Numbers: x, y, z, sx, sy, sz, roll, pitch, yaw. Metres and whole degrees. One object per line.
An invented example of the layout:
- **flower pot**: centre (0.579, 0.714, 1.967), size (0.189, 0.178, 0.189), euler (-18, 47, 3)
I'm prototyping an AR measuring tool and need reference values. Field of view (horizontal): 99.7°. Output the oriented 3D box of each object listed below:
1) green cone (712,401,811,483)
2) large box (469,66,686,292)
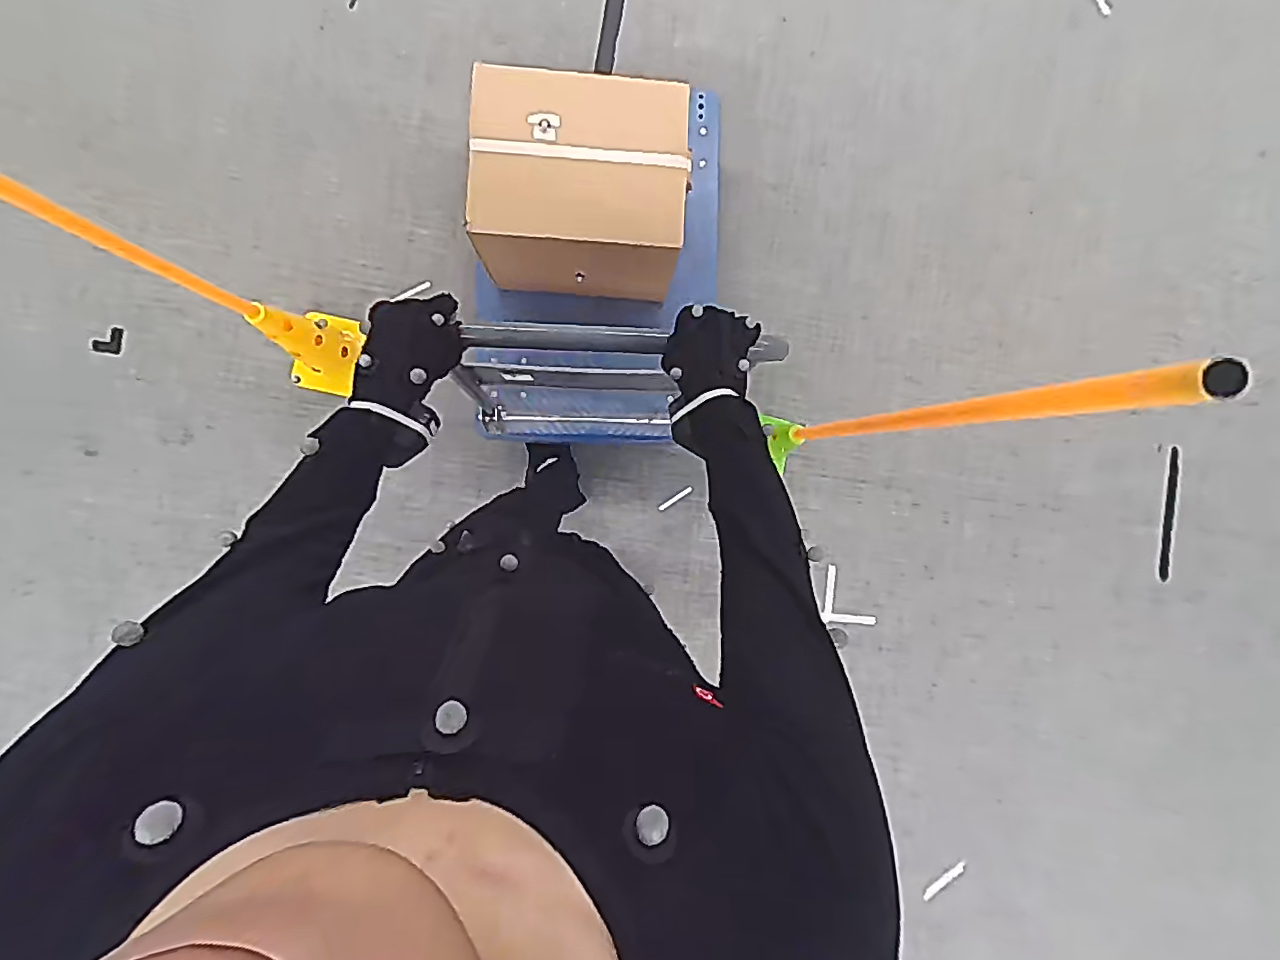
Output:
- **green cone**: centre (0.324, -0.106, 1.328), size (0.202, 0.368, 0.200), euler (13, 89, -5)
- **large box**: centre (-0.121, -0.612, 1.160), size (0.408, 0.320, 0.320), euler (3, 90, -3)
